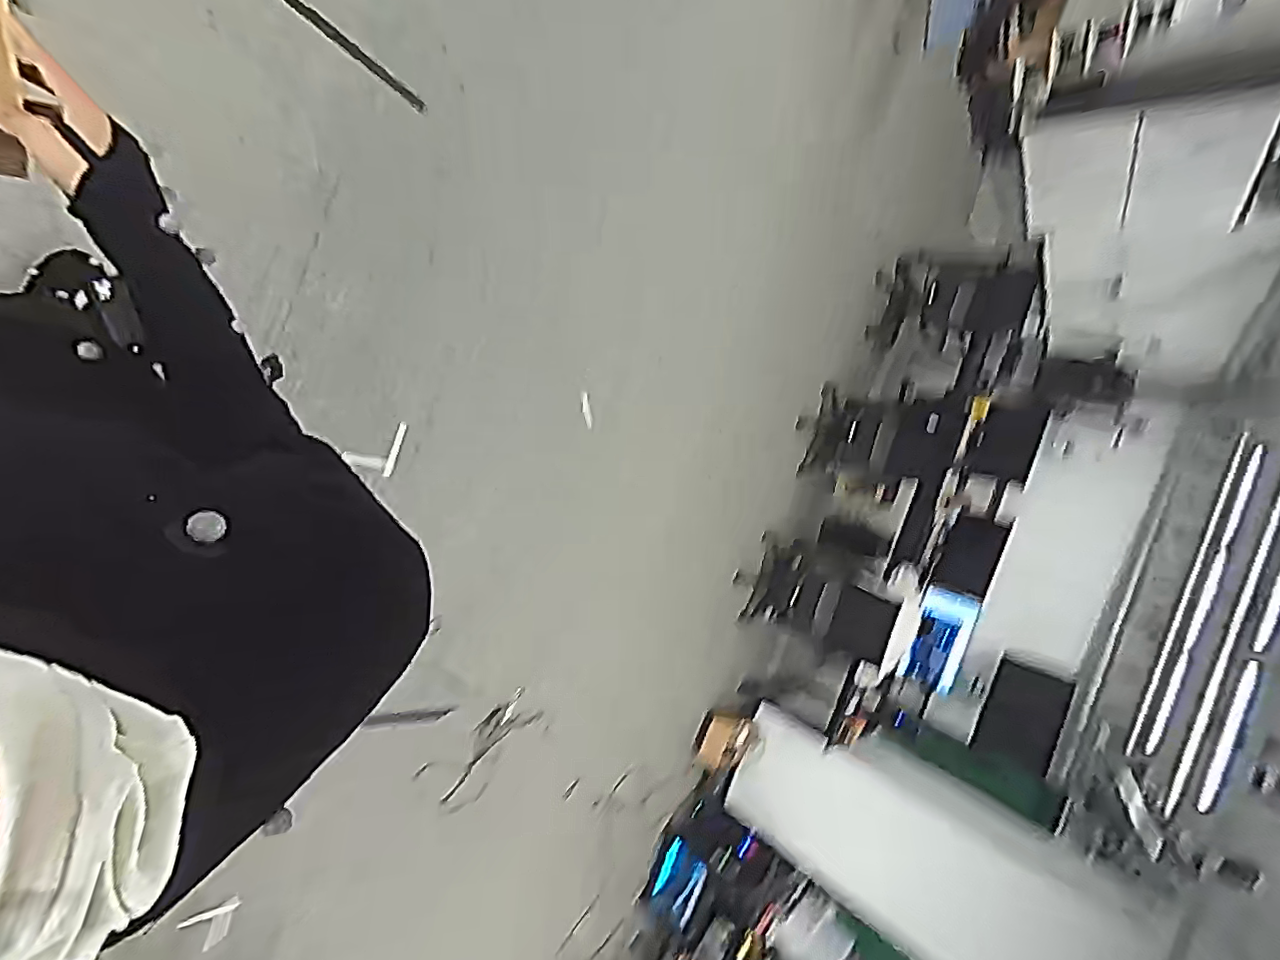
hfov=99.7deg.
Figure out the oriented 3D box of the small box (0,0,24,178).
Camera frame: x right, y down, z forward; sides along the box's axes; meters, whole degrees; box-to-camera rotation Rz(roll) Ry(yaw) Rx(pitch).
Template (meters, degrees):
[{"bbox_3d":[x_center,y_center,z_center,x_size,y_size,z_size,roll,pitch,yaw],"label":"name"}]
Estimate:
[{"bbox_3d":[-0.613,-0.369,0.418,0.168,0.176,0.179,-9,102,-47],"label":"small box"}]
